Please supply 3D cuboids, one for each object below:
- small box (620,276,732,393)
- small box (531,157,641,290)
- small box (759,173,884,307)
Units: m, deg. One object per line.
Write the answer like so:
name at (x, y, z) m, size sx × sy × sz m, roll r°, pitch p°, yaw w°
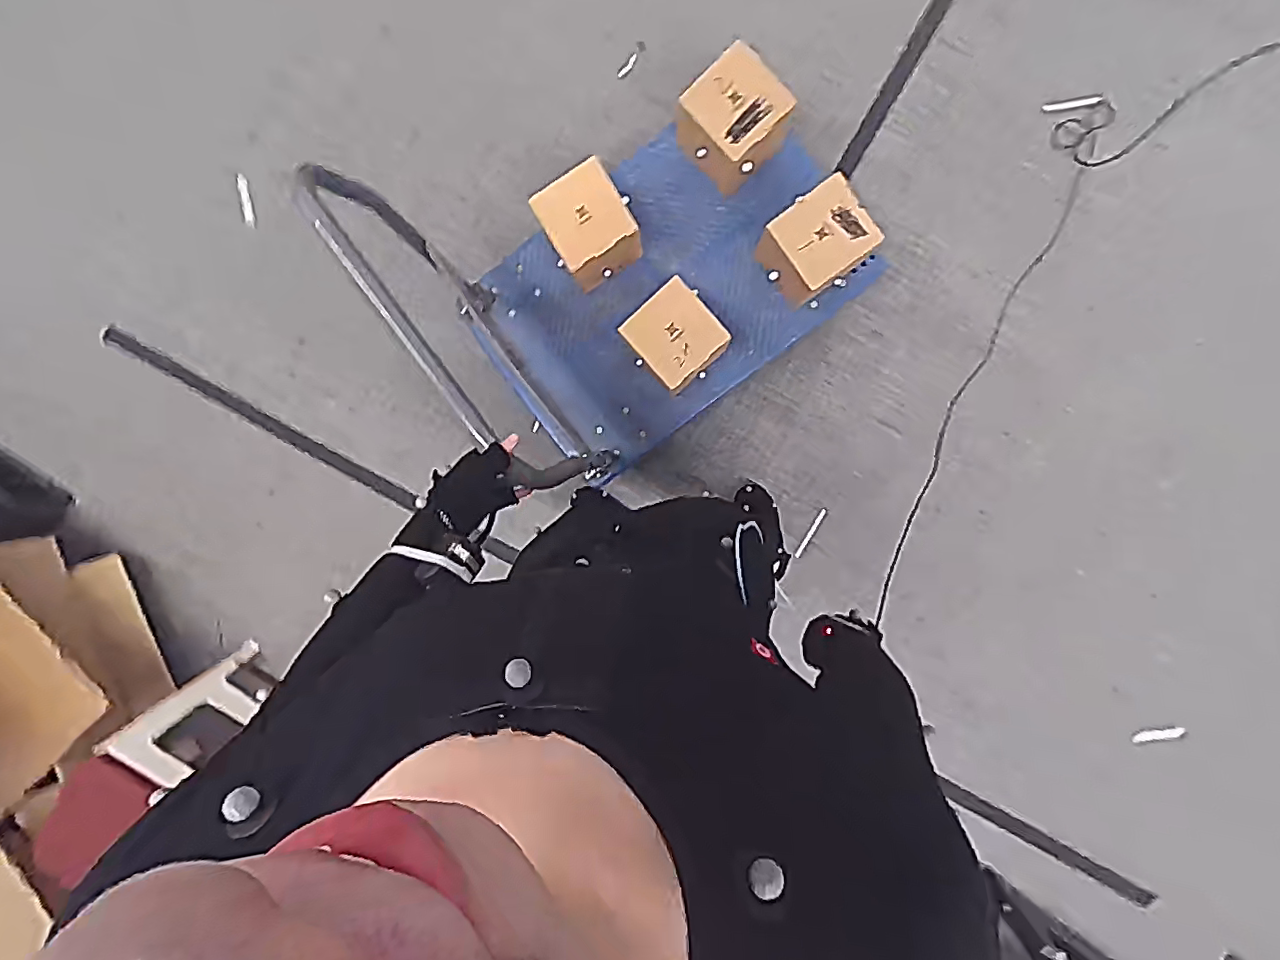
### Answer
small box at (0.078, -0.310, 1.197) m, size 0.168 × 0.176 × 0.179 m, roll -42°, pitch 90°, yaw 6°
small box at (-0.110, -0.553, 1.192) m, size 0.168 × 0.176 × 0.179 m, roll -32°, pitch 93°, yaw 5°
small box at (0.378, -0.504, 1.161) m, size 0.179 × 0.176 × 0.168 m, roll -36°, pitch 91°, yaw 7°
